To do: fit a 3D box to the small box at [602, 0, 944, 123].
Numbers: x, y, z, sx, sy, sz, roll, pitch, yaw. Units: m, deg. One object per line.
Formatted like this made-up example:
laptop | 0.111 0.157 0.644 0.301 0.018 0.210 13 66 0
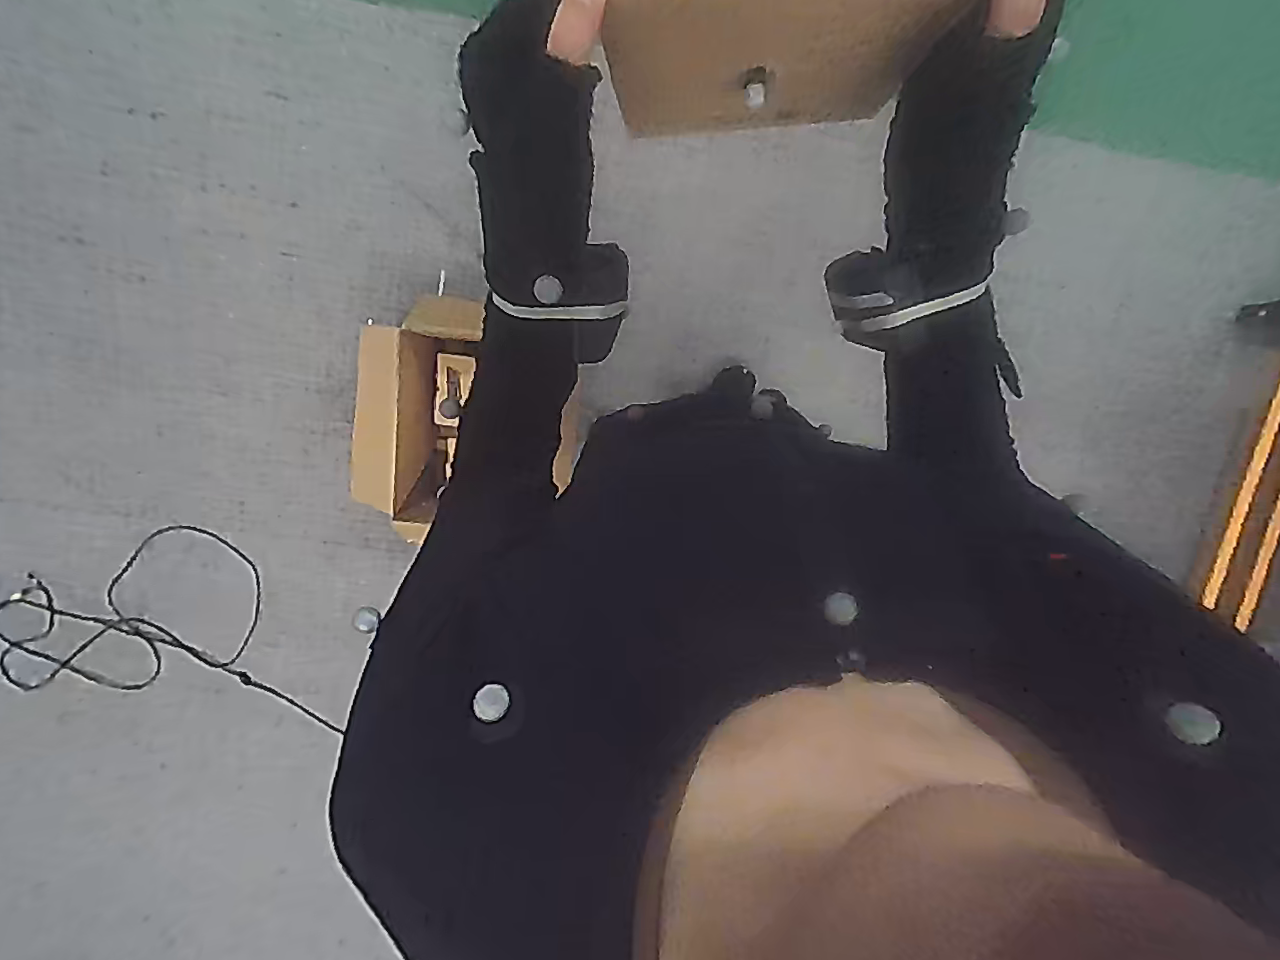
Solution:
small box | 0.066 -0.306 0.273 0.168 0.176 0.179 -2 104 4
